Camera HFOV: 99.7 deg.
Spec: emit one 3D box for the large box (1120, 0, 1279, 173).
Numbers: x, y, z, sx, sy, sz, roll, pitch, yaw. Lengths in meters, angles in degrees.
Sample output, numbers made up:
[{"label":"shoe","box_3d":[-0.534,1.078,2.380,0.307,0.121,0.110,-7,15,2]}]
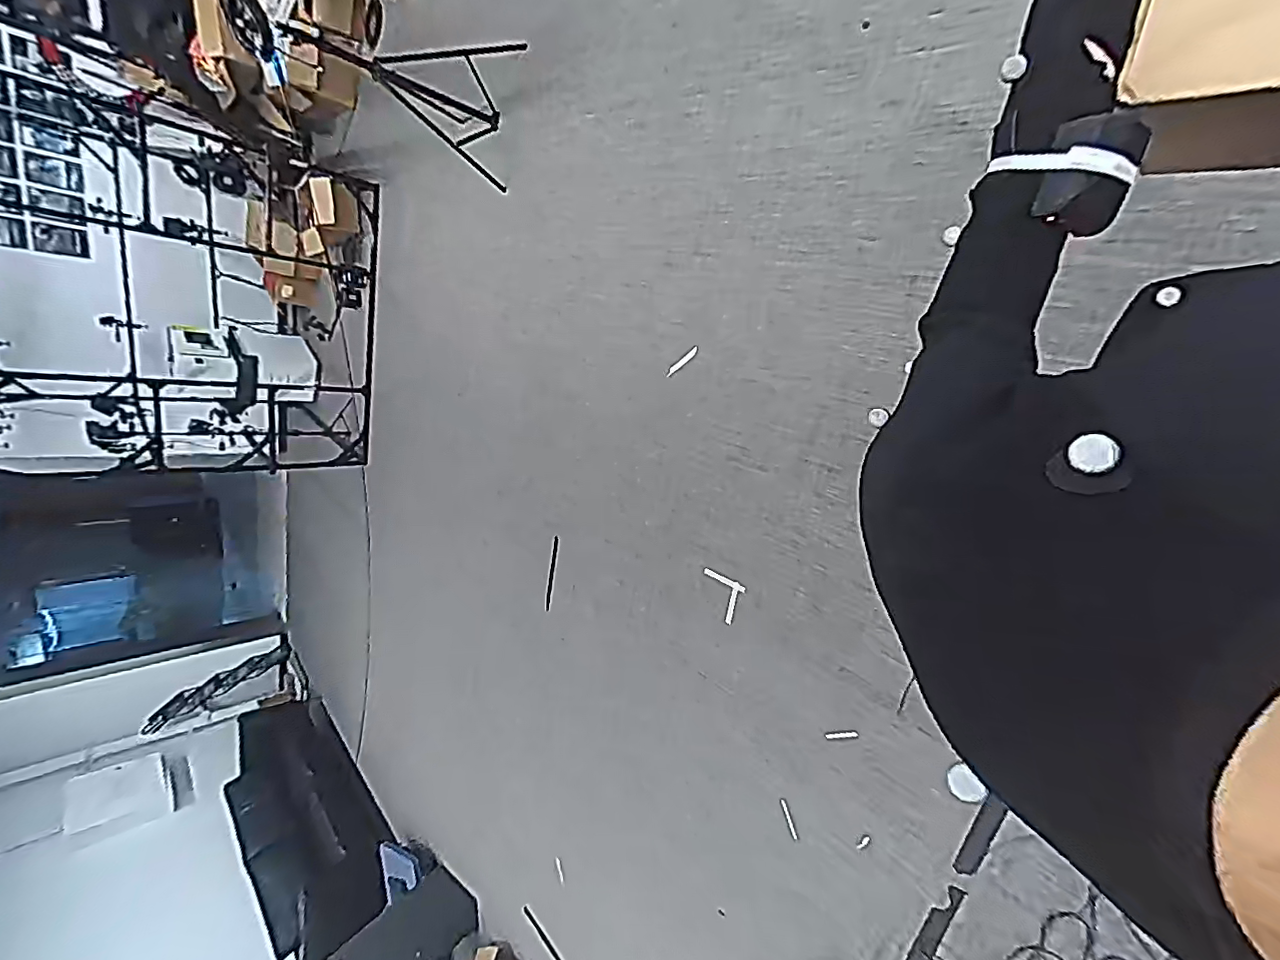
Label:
[{"label":"large box","box_3d":[0.583,-0.388,0.305,0.408,0.320,0.320,21,118,39]}]
